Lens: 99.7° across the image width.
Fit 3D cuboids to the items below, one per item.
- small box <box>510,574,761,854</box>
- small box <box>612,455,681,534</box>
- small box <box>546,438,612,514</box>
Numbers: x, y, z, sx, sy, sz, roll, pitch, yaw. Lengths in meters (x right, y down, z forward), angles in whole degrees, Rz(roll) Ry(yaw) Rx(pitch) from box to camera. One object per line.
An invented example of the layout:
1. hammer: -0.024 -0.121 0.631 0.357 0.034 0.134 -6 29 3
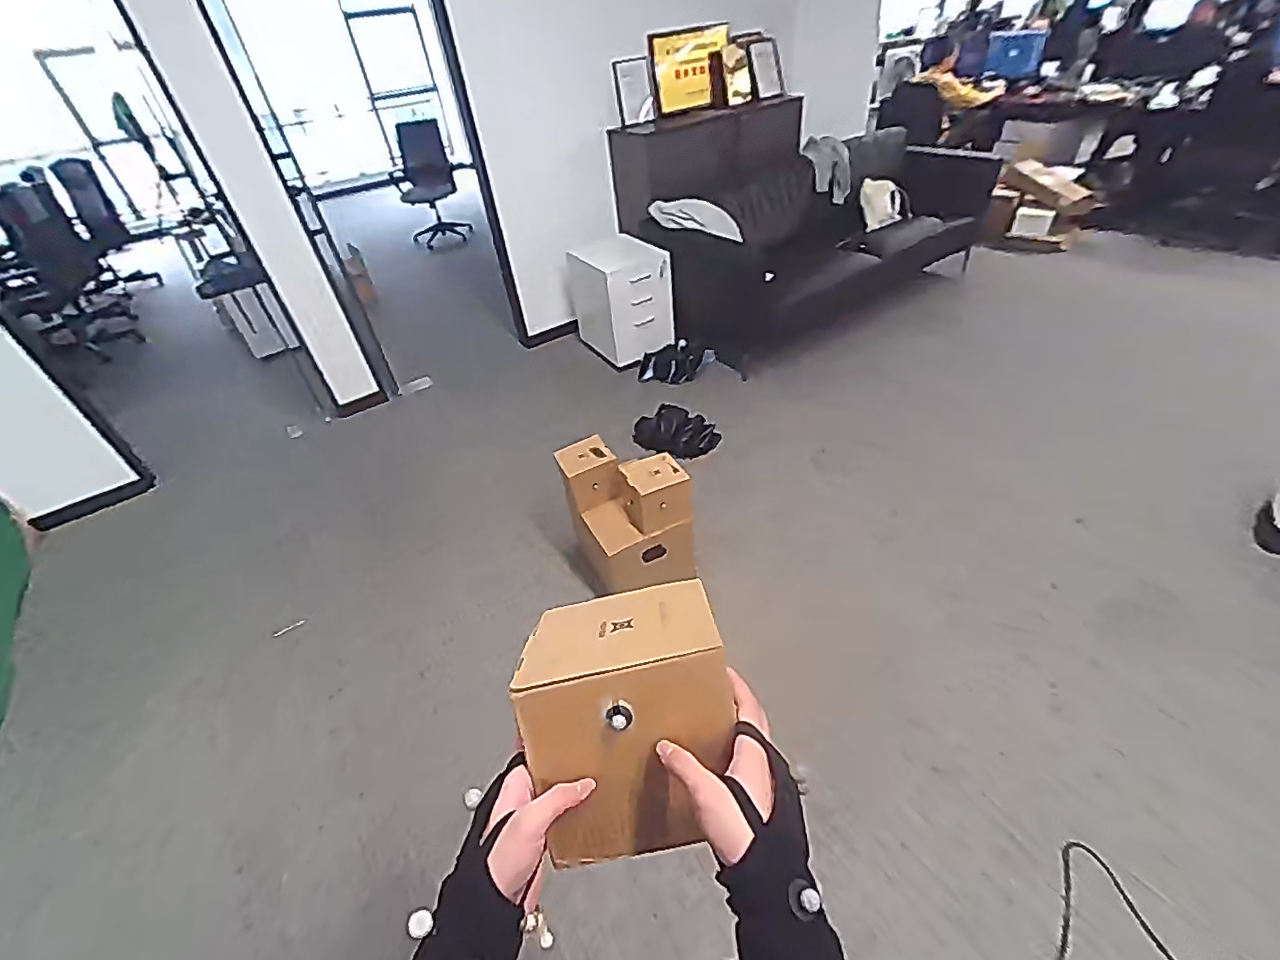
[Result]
1. small box: -0.001 0.205 0.500 0.179 0.176 0.168 -11 8 0
2. small box: 0.025 0.051 1.769 0.179 0.176 0.168 -20 41 -18
3. small box: -0.206 -0.013 1.877 0.179 0.176 0.168 -23 42 -15
